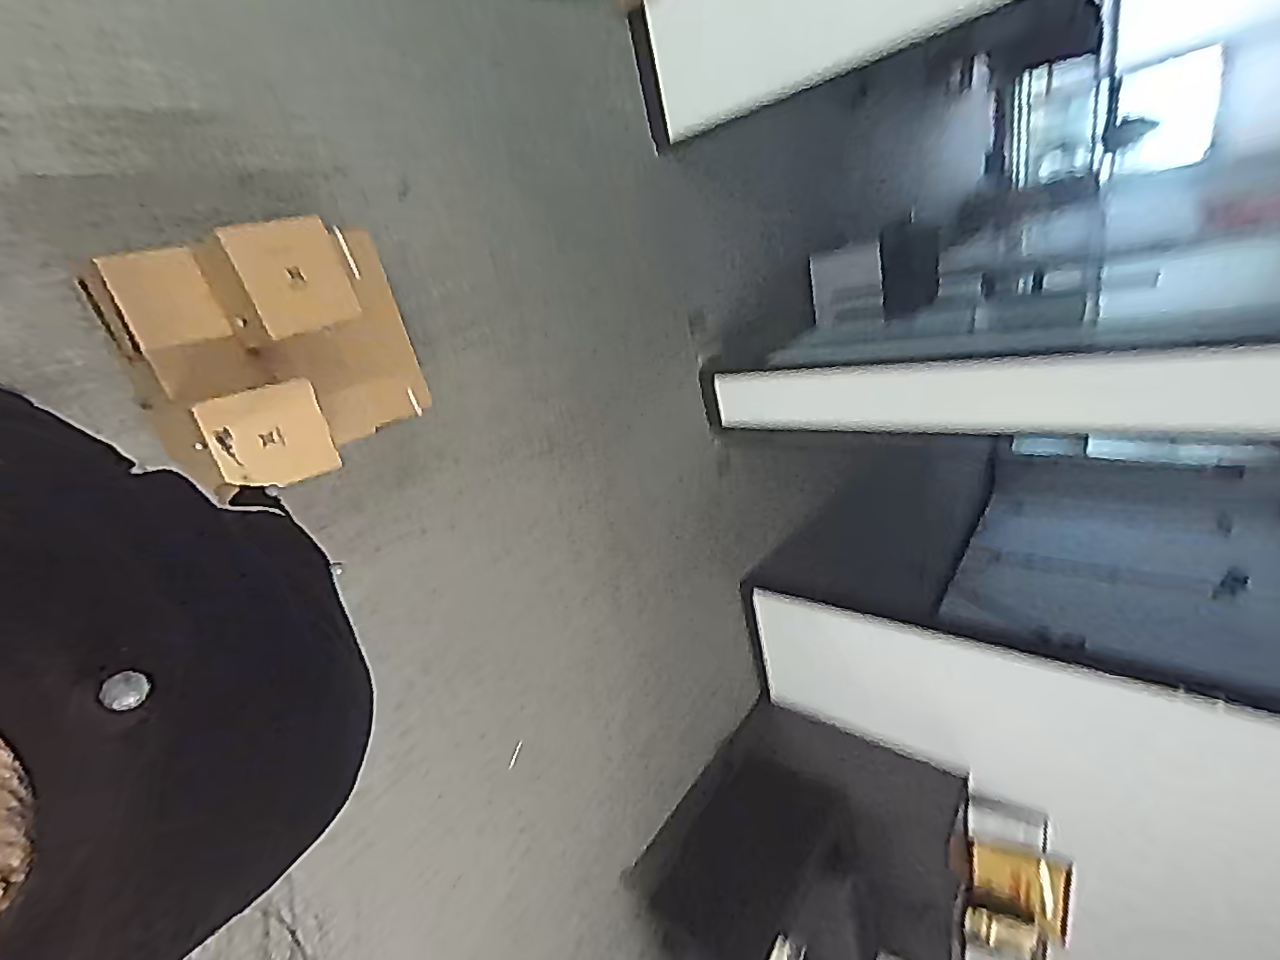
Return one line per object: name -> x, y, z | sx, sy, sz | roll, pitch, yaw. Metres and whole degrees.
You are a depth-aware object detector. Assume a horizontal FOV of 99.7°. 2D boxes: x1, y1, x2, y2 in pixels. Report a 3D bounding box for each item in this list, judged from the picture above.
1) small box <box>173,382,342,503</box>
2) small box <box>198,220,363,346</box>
small box -> -0.673, -0.075, 0.956 | 0.179, 0.176, 0.168 | -30, 117, -44
small box -> -0.641, -0.345, 0.967 | 0.168, 0.176, 0.179 | -37, 120, -42
